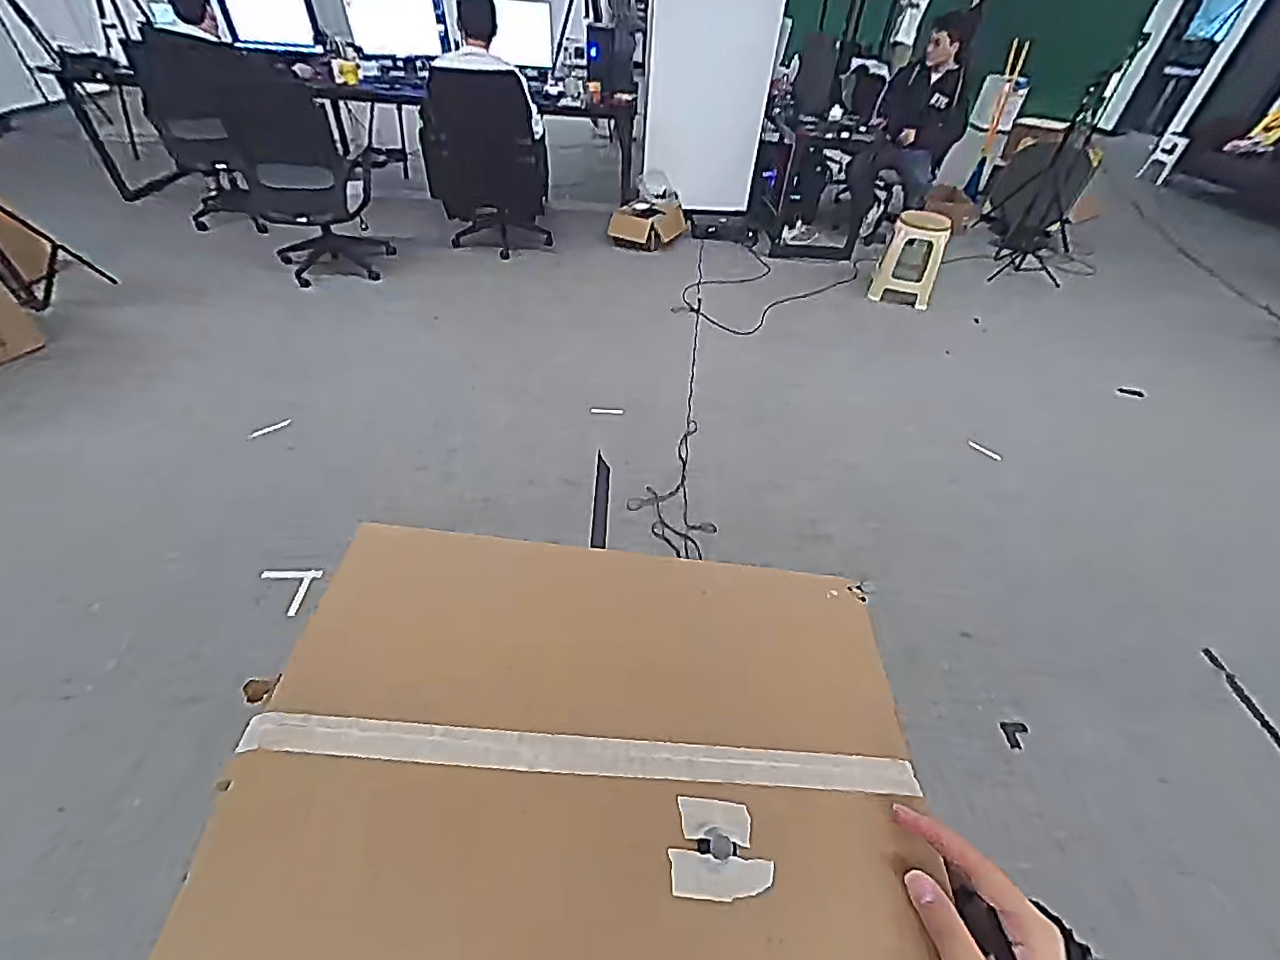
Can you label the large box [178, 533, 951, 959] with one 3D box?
[{"bbox_3d":[-0.046,0.275,0.452,0.408,0.320,0.320,8,47,-6],"label":"large box"}]
